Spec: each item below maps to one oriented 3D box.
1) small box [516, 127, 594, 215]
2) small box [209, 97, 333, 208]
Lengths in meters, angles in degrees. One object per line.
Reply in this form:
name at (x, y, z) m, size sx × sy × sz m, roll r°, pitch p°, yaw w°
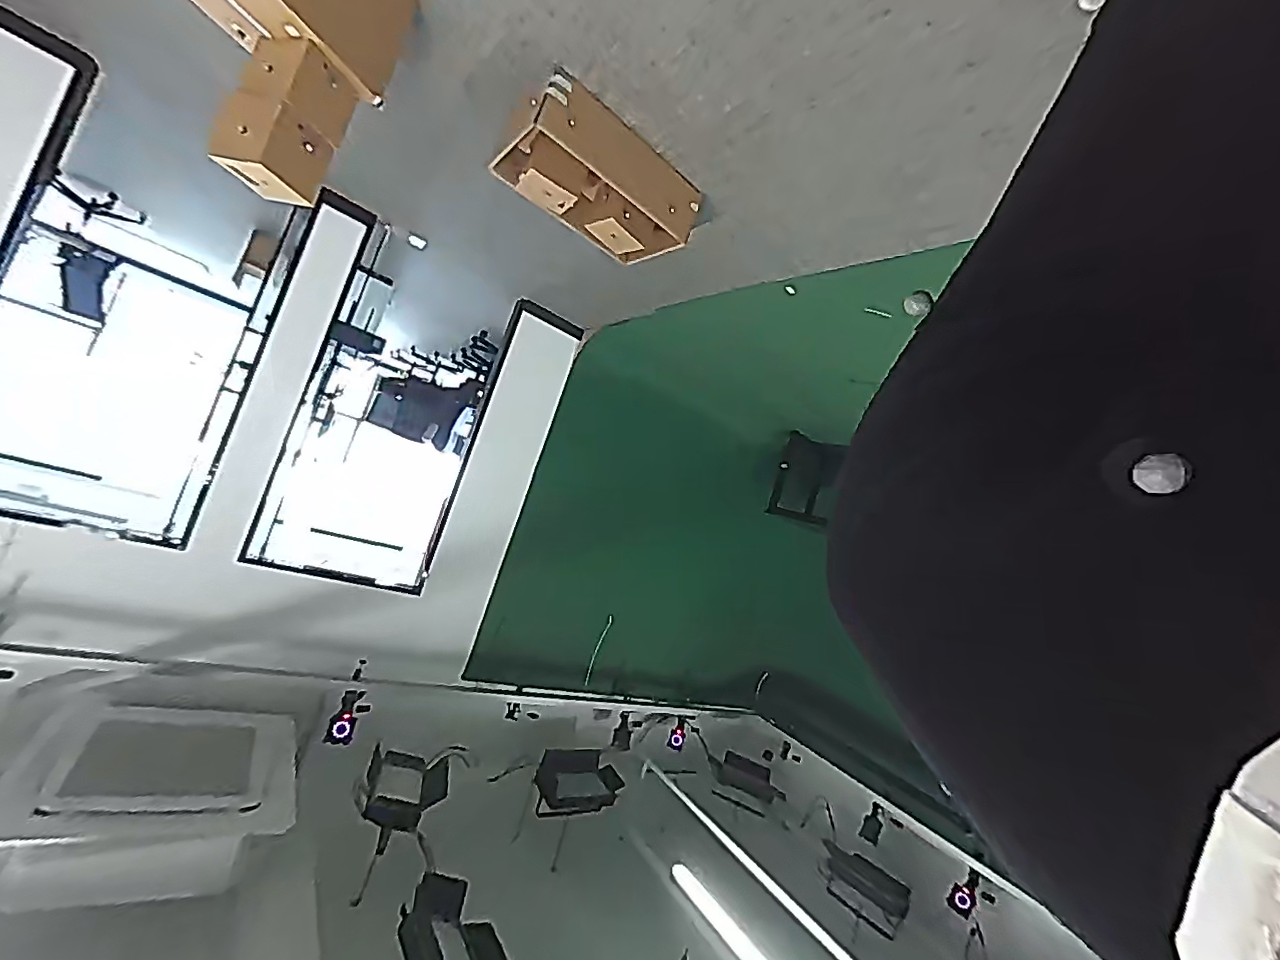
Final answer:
small box at (-0.281, -1.026, 1.789) m, size 0.179 × 0.176 × 0.168 m, roll 22°, pitch 175°, yaw -30°
small box at (-0.924, -0.828, 1.369) m, size 0.179 × 0.176 × 0.168 m, roll 16°, pitch 175°, yaw 14°
